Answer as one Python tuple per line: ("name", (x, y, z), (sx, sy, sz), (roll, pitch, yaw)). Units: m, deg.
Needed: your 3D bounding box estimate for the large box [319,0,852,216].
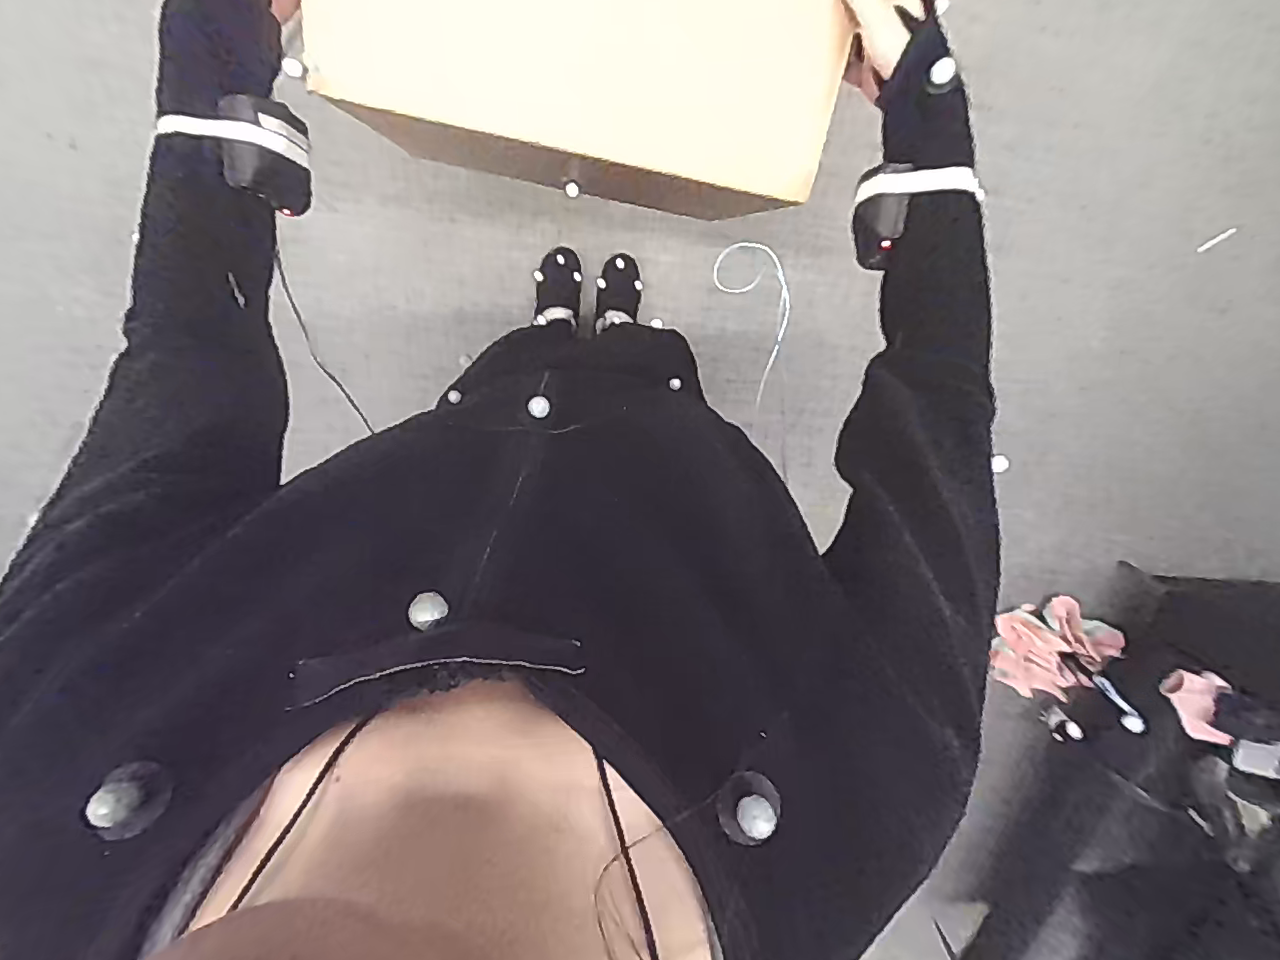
("large box", (-0.040, -0.465, 0.528), (0.408, 0.320, 0.320), (7, 111, -11))
